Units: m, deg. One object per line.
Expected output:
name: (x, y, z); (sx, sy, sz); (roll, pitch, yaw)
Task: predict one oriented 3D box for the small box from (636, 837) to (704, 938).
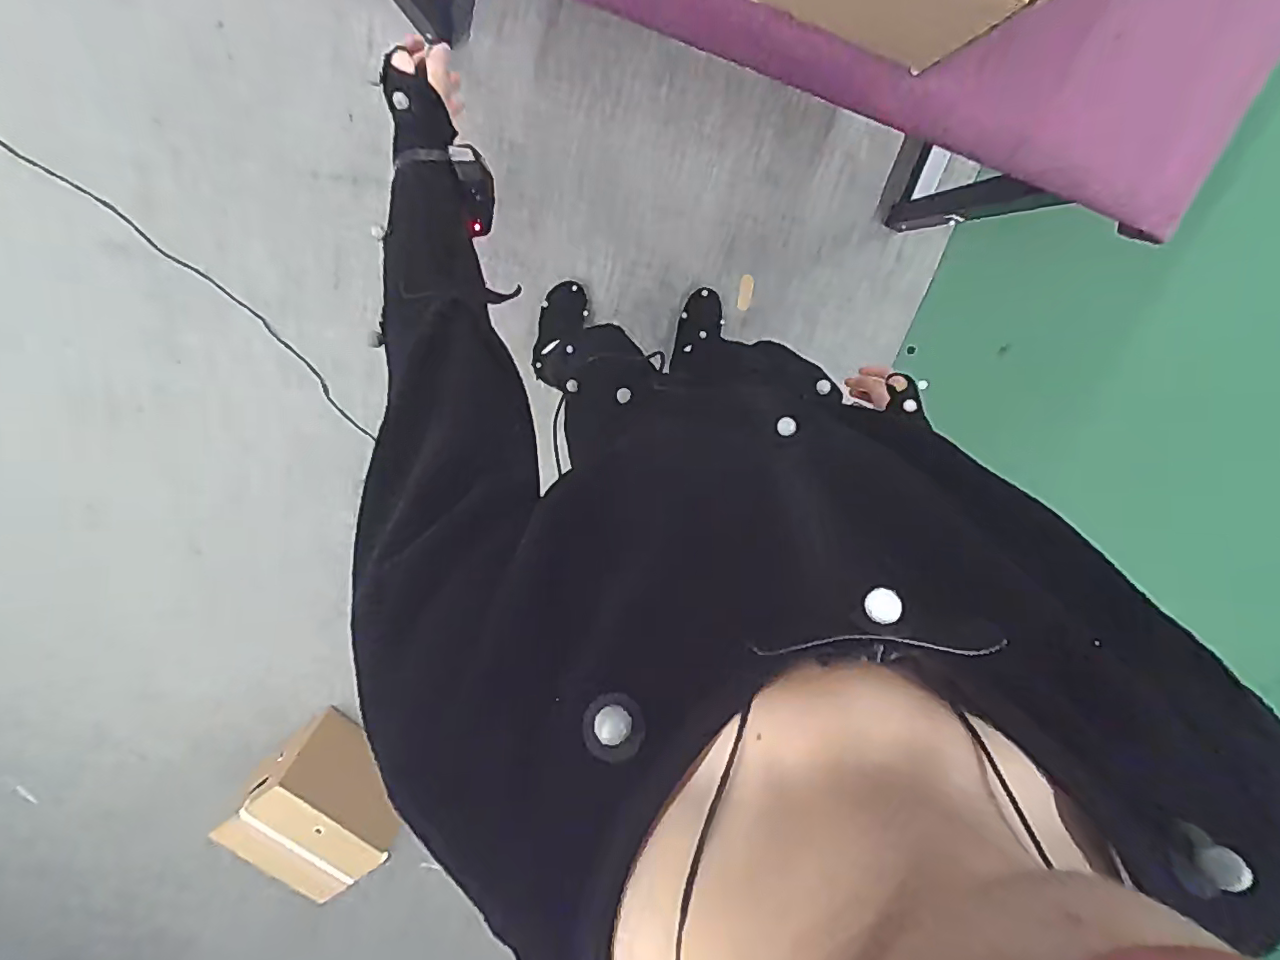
small box: (0.079, 1.171, 1.562); (0.168, 0.176, 0.179); (7, 109, -4)
